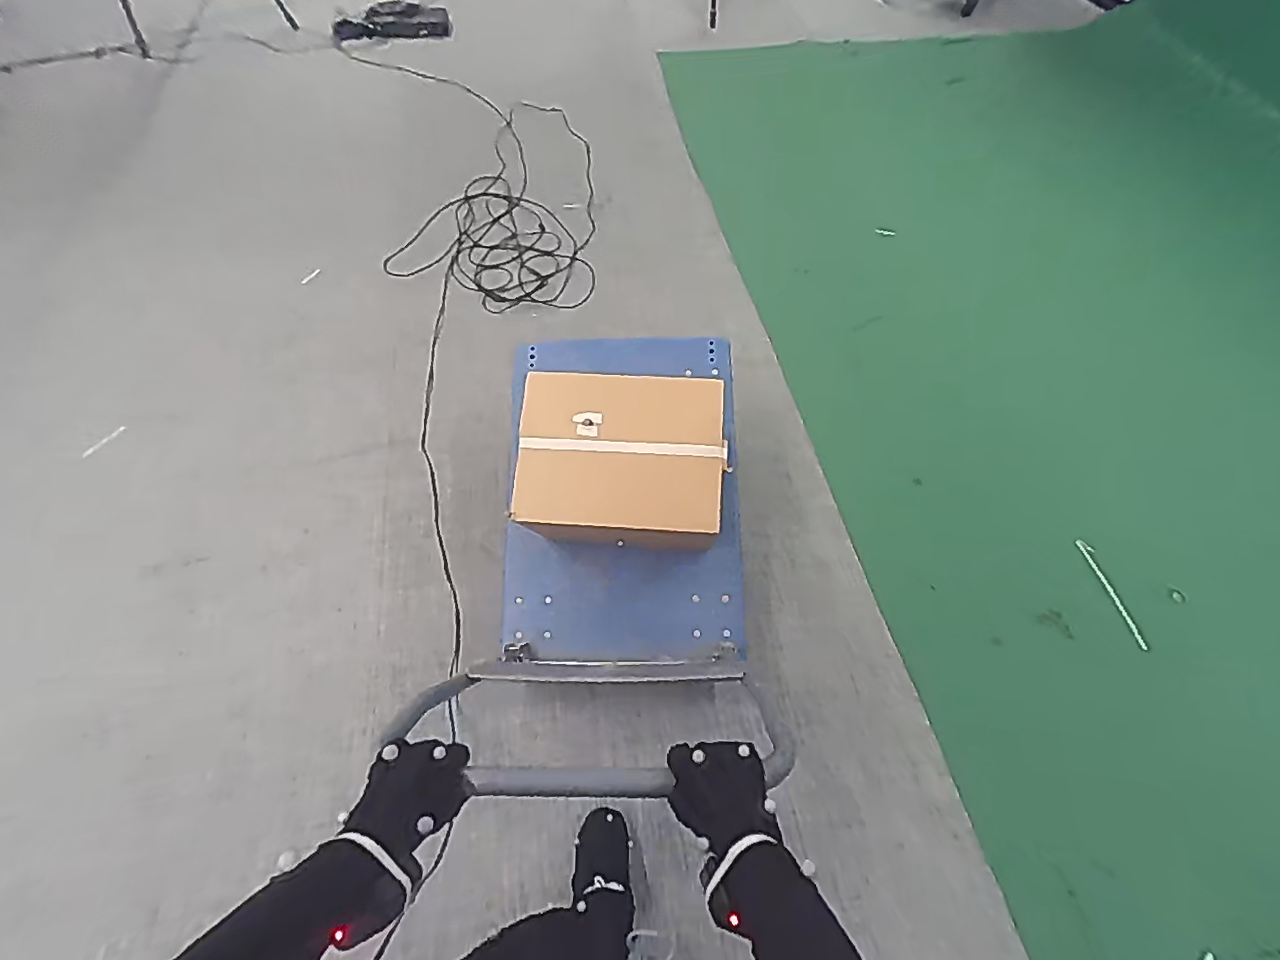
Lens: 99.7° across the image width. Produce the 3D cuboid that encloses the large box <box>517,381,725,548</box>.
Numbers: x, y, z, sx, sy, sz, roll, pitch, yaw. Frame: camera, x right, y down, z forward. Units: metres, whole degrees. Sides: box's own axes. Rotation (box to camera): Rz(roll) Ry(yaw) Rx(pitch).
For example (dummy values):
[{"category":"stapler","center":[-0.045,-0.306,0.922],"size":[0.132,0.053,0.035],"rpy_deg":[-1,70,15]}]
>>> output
[{"category":"large box","center":[-0.021,-0.018,1.206],"size":[0.408,0.320,0.320],"rpy_deg":[2,76,5]}]
